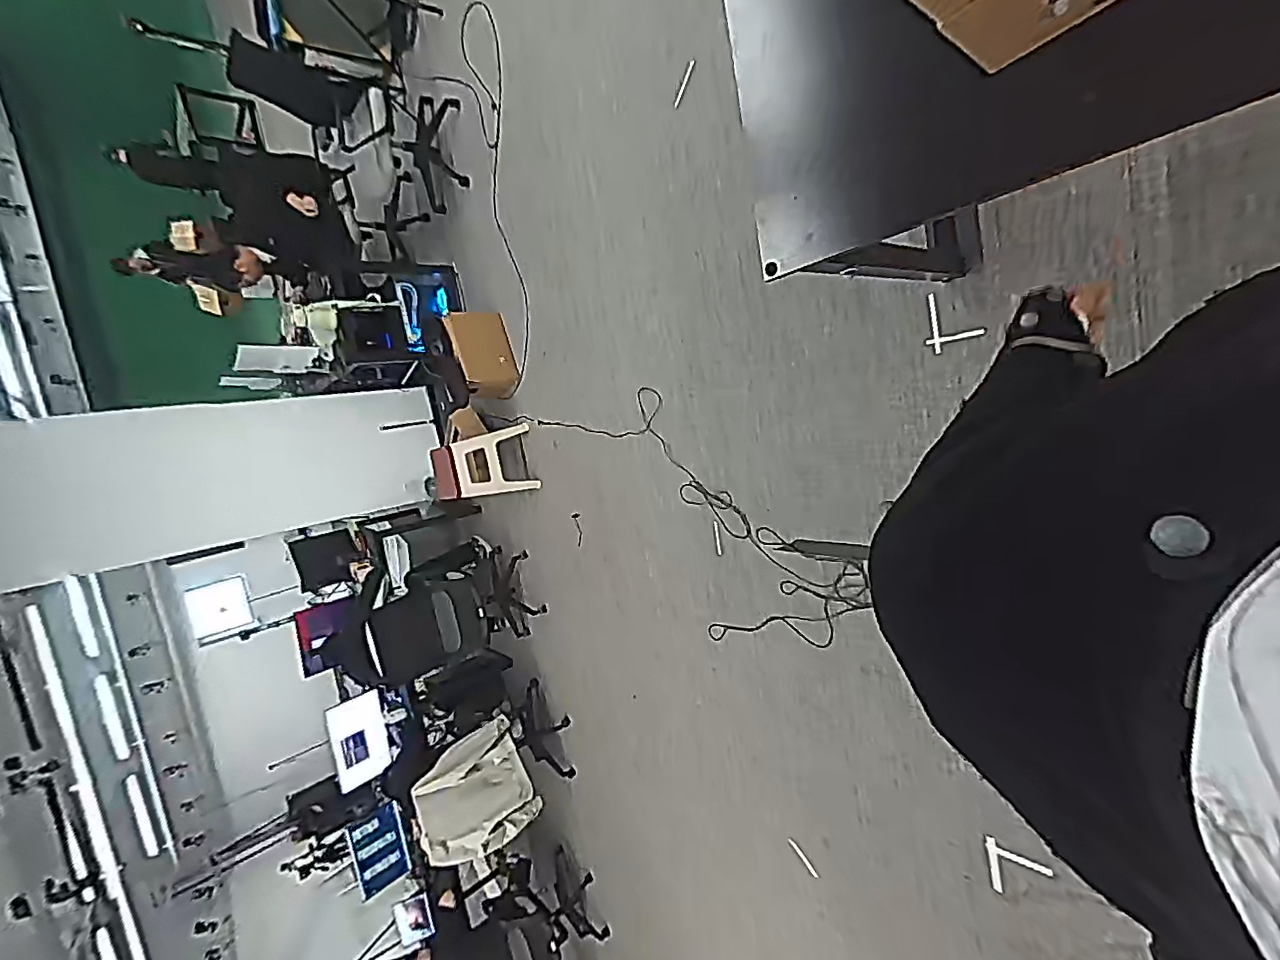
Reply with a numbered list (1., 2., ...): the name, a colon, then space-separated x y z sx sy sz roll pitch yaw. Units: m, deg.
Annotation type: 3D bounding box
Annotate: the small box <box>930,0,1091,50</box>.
1. small box: 0.383 -0.556 0.512 0.168 0.176 0.179 -8 96 52
